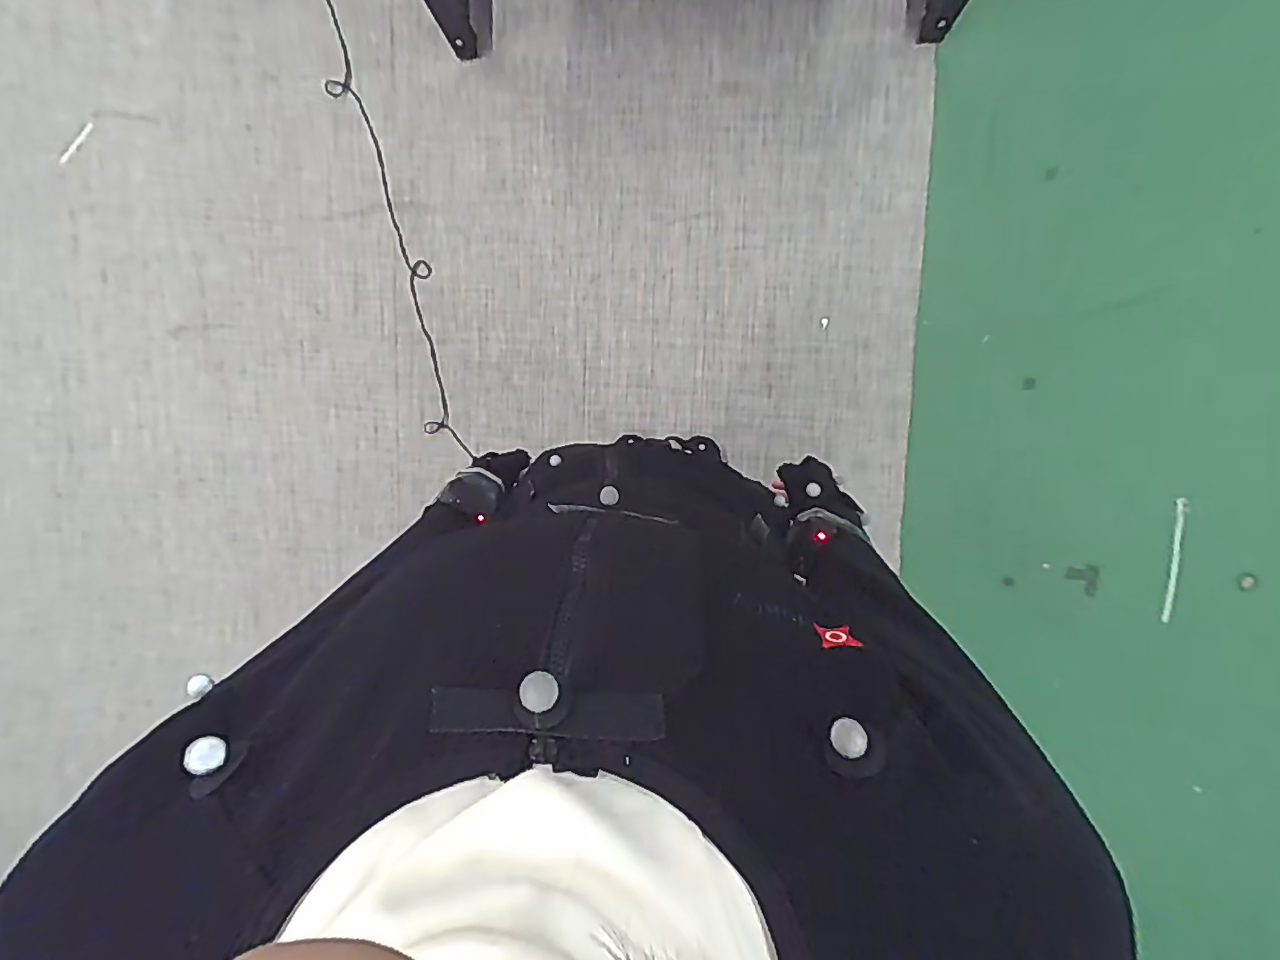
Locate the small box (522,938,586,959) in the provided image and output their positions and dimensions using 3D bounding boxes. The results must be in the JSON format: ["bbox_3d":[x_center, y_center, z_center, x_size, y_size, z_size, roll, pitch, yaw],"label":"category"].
[{"bbox_3d":[-0.258,1.434,1.508,0.179,0.176,0.168,5,96,4],"label":"small box"}]
